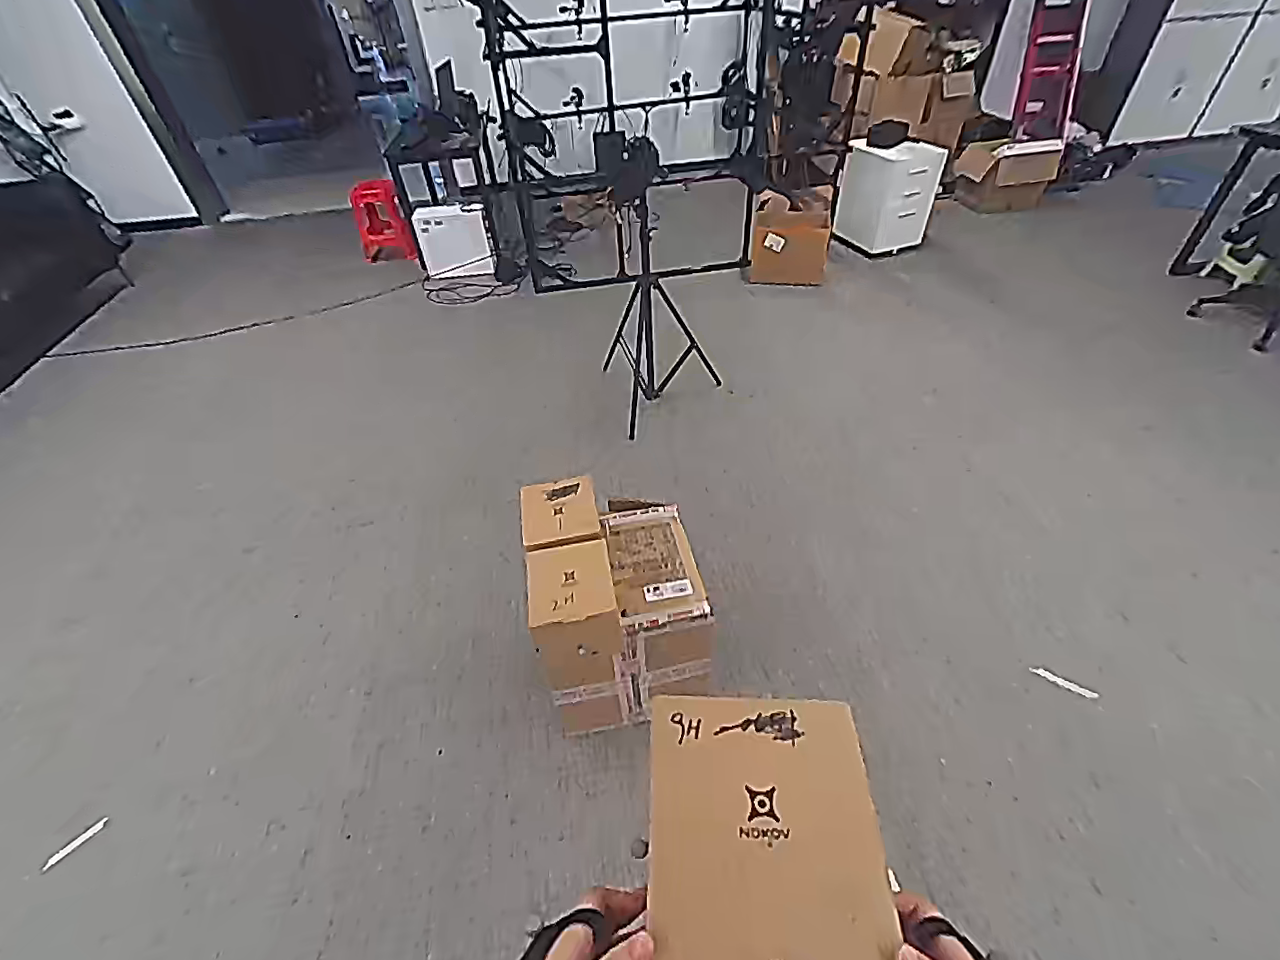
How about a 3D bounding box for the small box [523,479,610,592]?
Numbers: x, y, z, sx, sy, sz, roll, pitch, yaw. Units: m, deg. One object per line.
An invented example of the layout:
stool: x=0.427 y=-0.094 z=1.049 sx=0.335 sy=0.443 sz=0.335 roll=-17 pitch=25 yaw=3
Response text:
small box: x=-0.168 y=0.128 z=1.244 sx=0.168 sy=0.176 sz=0.179 roll=-11 pitch=46 yaw=-4
